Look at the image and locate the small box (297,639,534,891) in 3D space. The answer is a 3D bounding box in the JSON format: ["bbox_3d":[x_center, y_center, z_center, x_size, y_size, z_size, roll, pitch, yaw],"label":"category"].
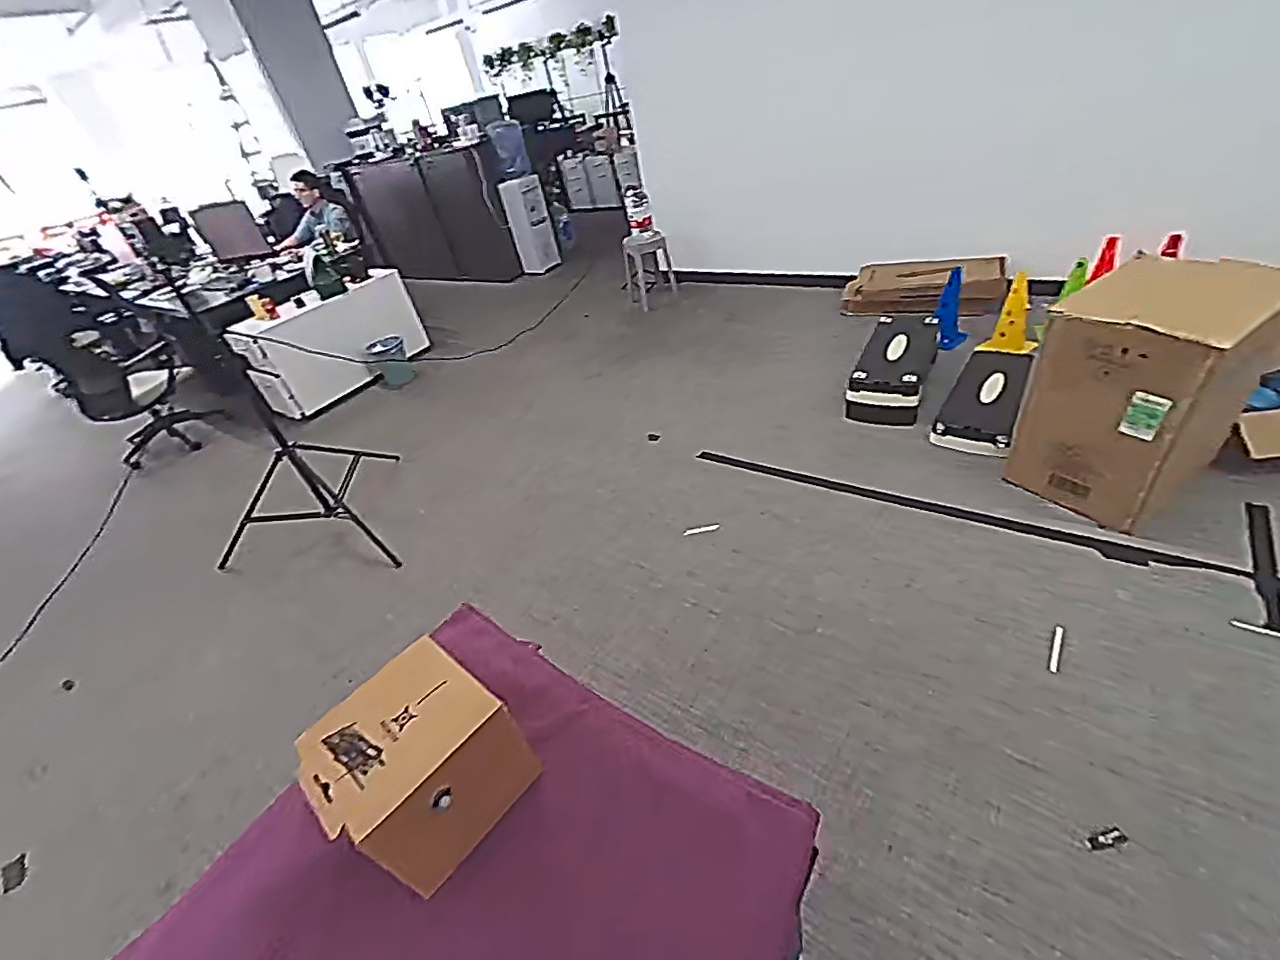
[{"bbox_3d":[-0.255,0.337,0.647,0.168,0.176,0.179,22,48,36],"label":"small box"}]
